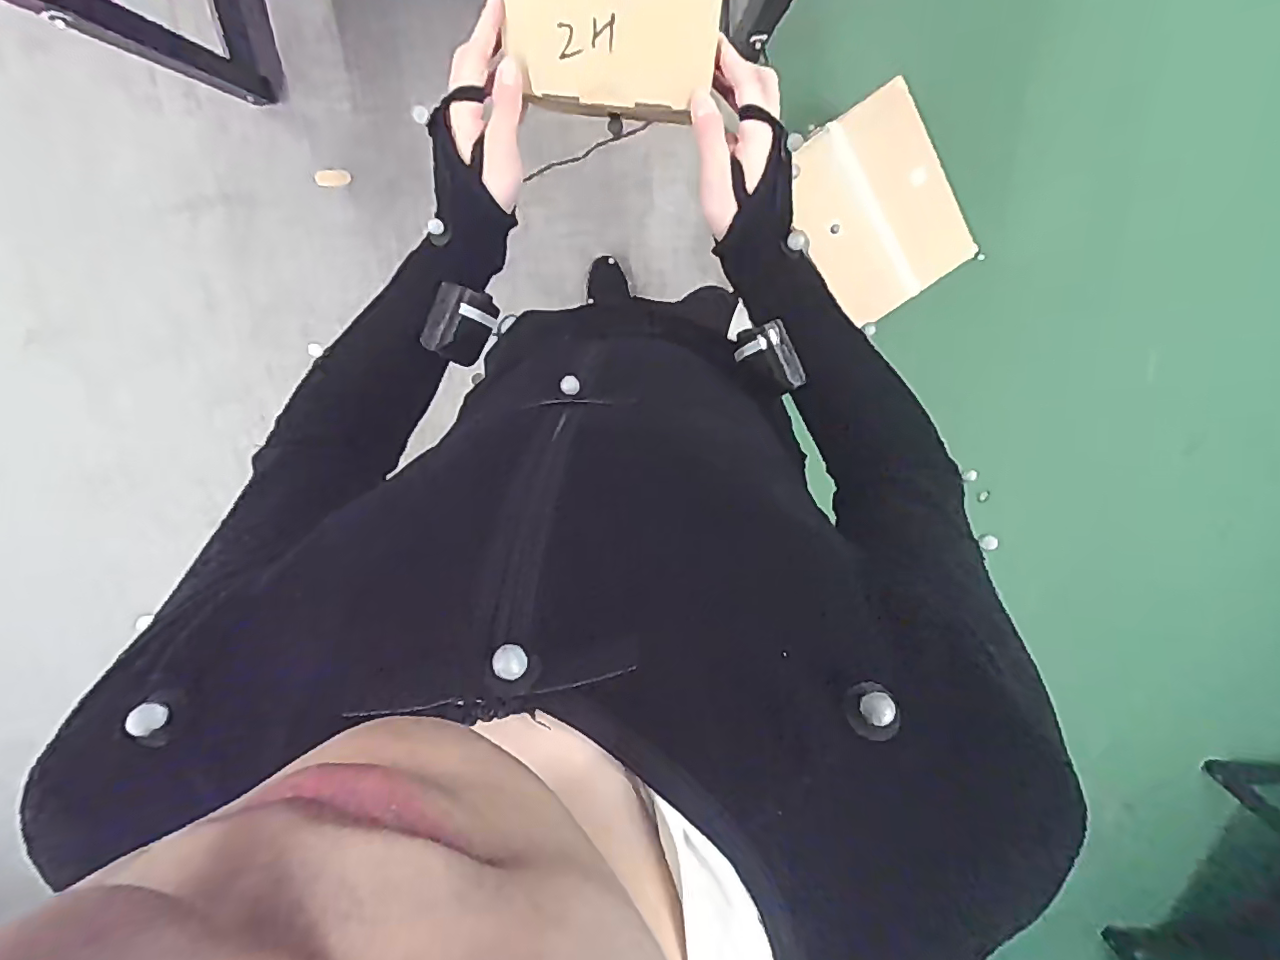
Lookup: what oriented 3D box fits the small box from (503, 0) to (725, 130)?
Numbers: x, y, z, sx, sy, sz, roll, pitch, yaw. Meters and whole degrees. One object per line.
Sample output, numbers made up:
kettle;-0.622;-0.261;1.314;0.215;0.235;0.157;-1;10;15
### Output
small box;-0.015;-0.413;0.456;0.168;0.176;0.179;6;119;0
